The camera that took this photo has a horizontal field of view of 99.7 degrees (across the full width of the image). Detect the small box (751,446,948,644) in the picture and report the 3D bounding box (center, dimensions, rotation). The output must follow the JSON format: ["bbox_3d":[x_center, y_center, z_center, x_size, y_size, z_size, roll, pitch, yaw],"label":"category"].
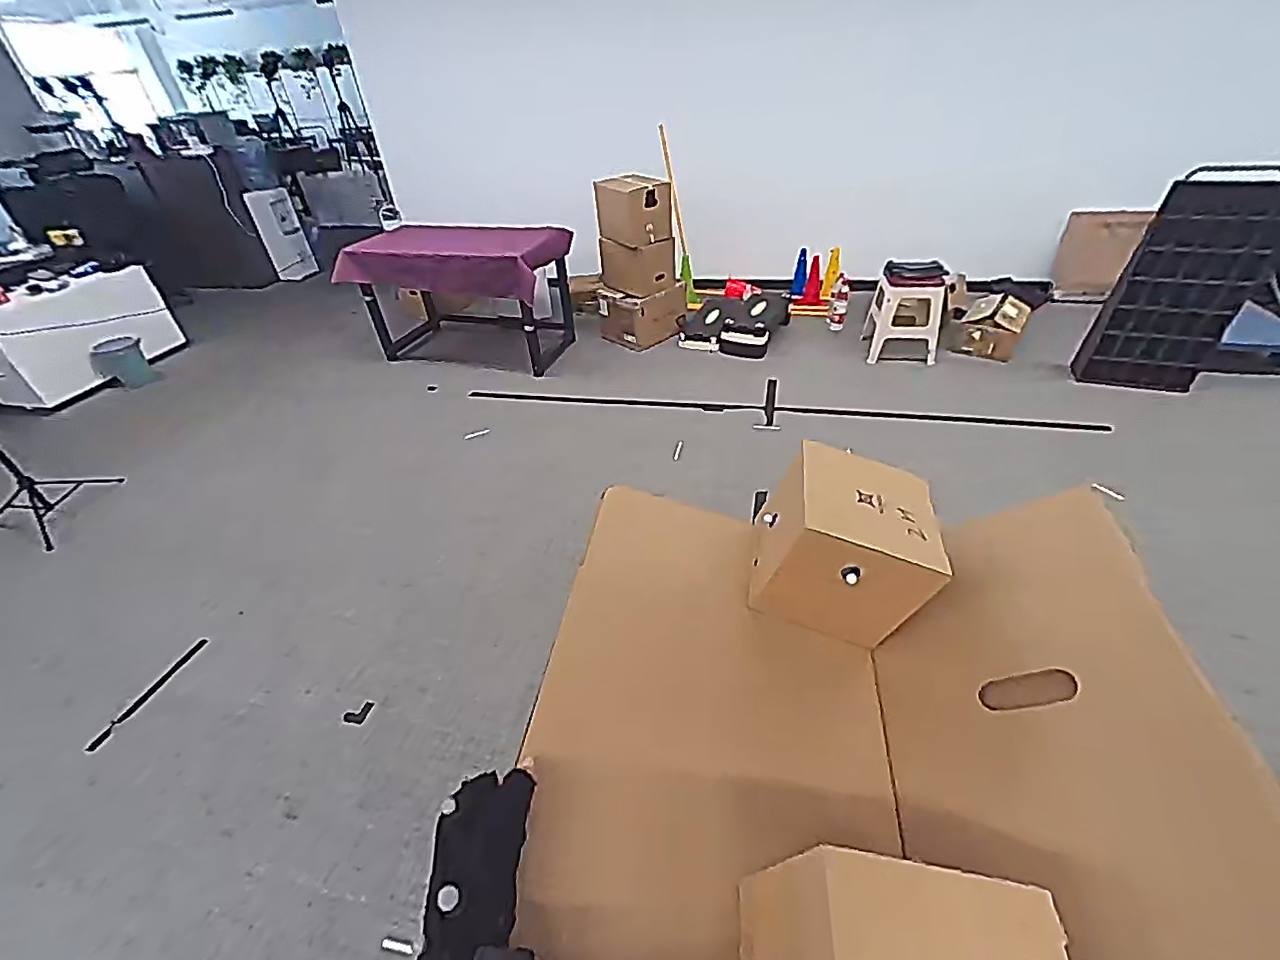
[{"bbox_3d":[0.258,0.089,0.708,0.179,0.176,0.168,19,44,0],"label":"small box"}]
